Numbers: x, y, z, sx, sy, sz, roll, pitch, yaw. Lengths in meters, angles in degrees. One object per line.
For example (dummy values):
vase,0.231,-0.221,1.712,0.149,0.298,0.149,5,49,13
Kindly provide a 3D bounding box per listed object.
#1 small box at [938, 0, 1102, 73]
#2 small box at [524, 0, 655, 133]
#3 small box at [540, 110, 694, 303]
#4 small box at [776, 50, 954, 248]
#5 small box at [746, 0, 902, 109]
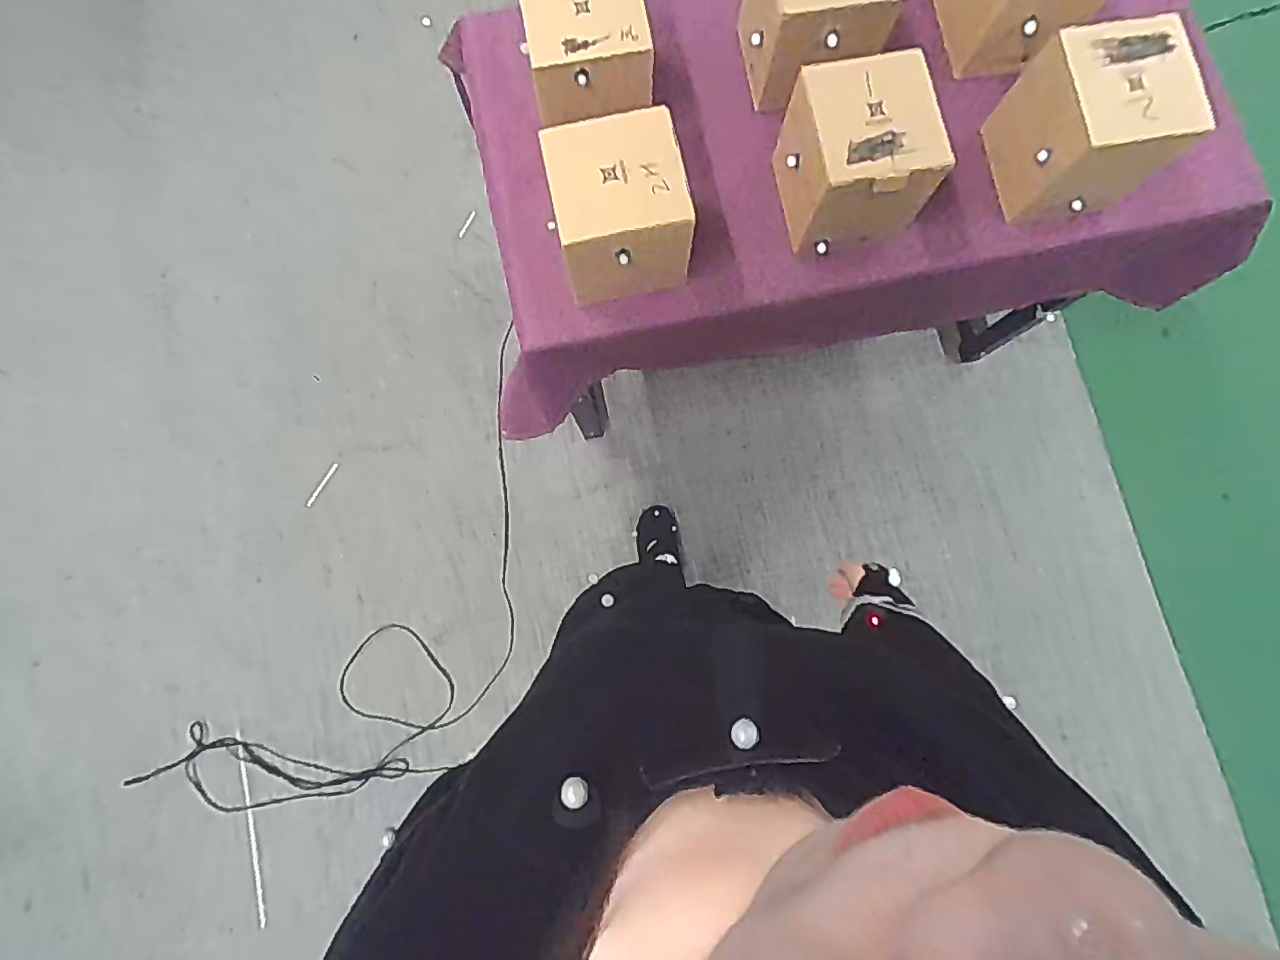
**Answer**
small box,0.586,-0.758,0.817,0.168,0.176,0.179,-8,81,0
small box,-0.074,-0.625,0.807,0.168,0.176,0.179,-10,81,-1
small box,-0.029,-0.374,0.769,0.179,0.176,0.168,-12,82,-1
small box,0.307,-0.456,0.776,0.168,0.176,0.179,-10,81,-1
small box,0.263,-0.699,0.814,0.179,0.176,0.168,-8,82,-1
